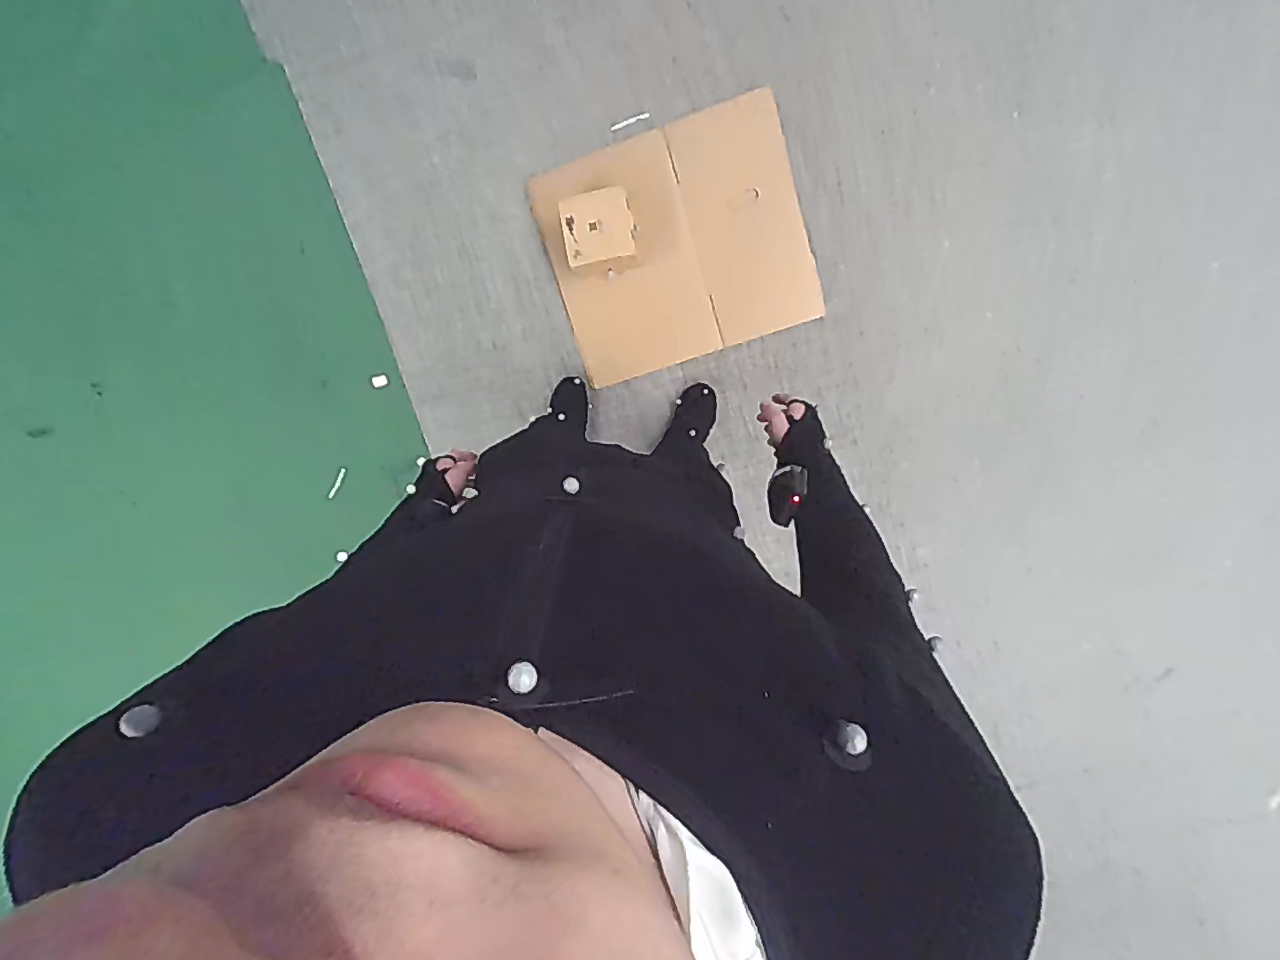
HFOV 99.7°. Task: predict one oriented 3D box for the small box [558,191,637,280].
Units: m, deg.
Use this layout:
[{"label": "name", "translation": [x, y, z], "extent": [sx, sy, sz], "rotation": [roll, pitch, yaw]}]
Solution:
[{"label": "small box", "translation": [-0.104, -0.639, 1.432], "extent": [0.179, 0.176, 0.168], "rotation": [-8, 100, 6]}]
